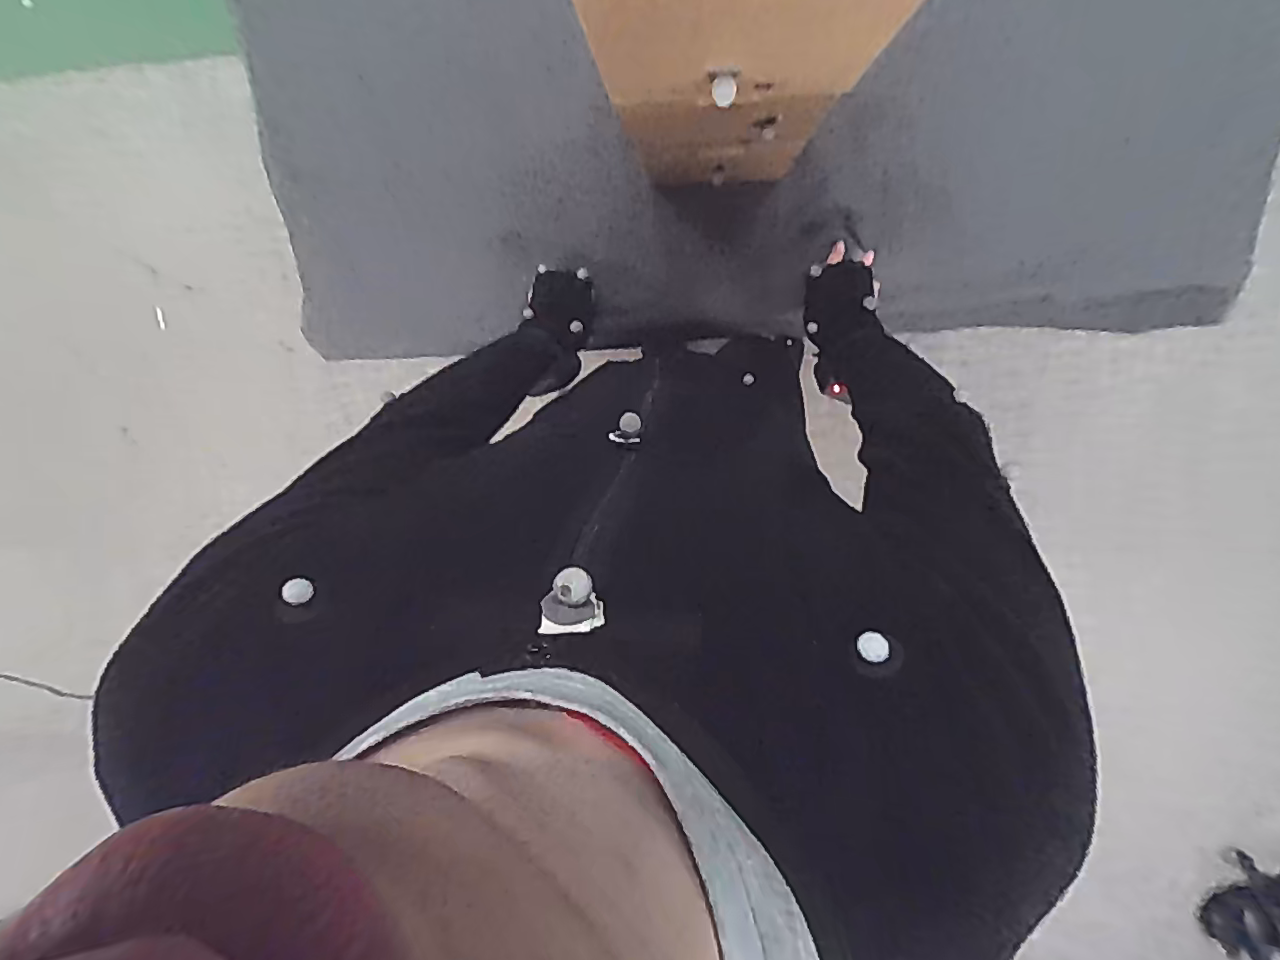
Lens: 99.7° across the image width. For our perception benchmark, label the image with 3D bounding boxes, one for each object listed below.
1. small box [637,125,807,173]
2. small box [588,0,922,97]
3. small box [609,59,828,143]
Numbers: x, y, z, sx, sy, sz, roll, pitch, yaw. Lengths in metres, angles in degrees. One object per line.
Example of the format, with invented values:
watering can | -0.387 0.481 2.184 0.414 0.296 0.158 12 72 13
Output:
small box | 0.086 -0.432 0.568 0.168 0.176 0.179 1 110 6
small box | 0.053 -0.317 0.264 0.168 0.176 0.179 1 111 5
small box | 0.066 -0.377 0.416 0.168 0.176 0.179 -1 109 6
